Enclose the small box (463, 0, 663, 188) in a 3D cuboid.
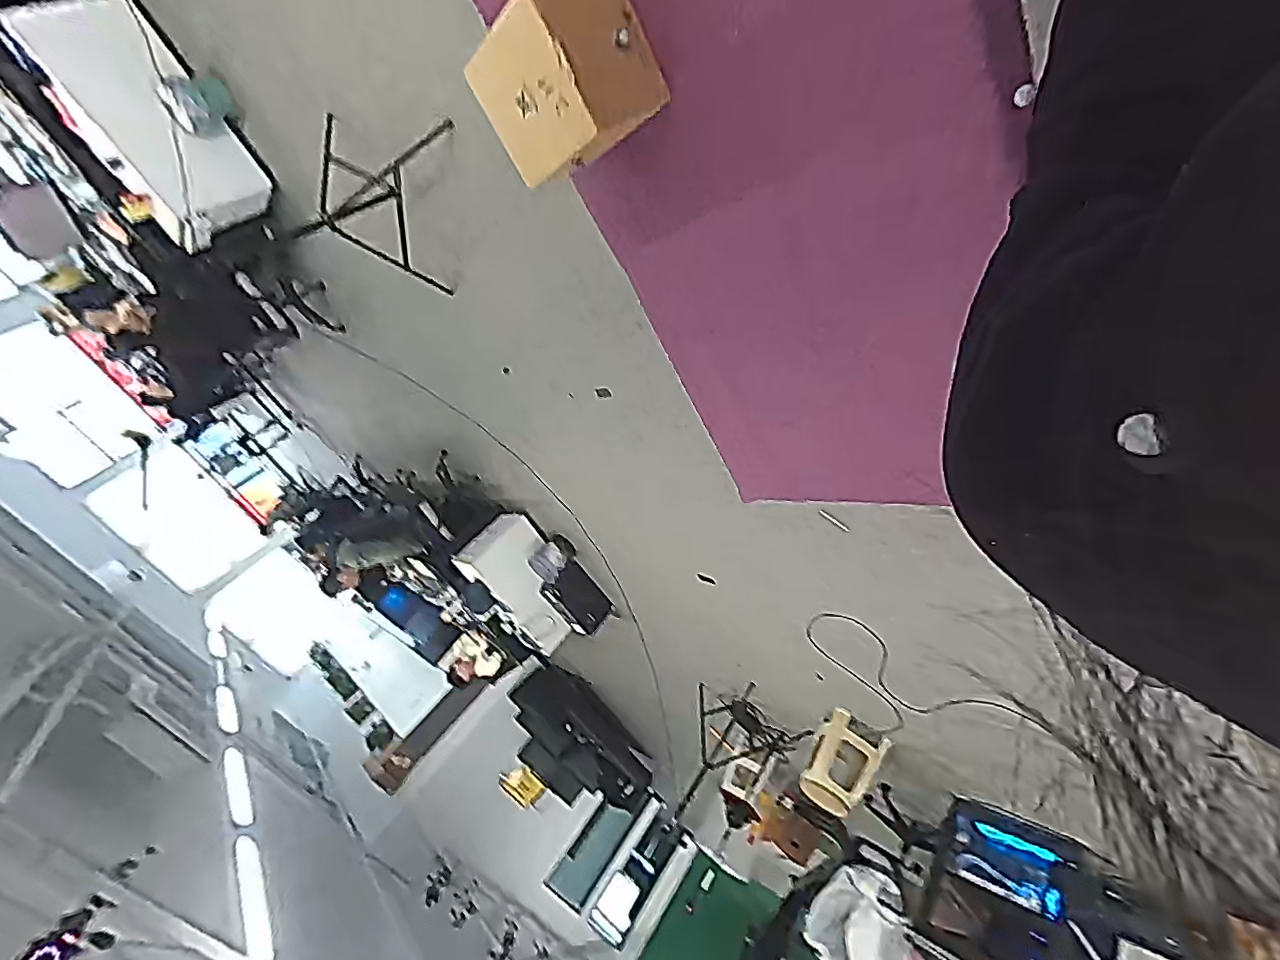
[{"bbox_3d":[-0.101,-0.543,0.743,0.179,0.176,0.168,-2,128,49],"label":"small box"}]
